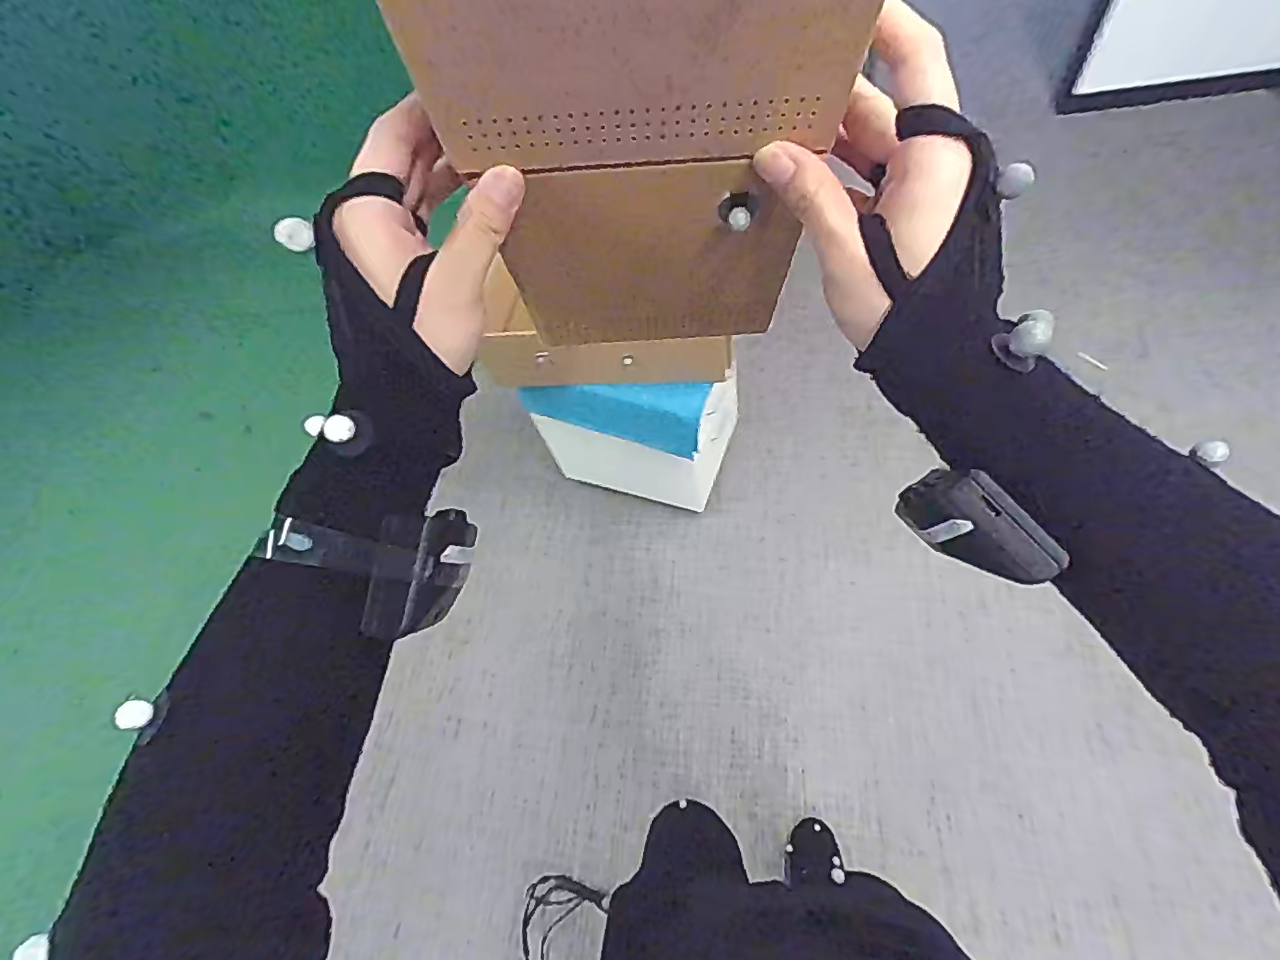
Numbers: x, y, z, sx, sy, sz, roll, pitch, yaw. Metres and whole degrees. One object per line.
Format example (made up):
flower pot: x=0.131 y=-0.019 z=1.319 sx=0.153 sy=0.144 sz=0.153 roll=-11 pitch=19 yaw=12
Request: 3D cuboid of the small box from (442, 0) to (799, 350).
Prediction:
small box: x=-0.010 y=-0.199 z=0.357 sx=0.179 sy=0.176 sz=0.168 roll=-4 pitch=75 yaw=2
